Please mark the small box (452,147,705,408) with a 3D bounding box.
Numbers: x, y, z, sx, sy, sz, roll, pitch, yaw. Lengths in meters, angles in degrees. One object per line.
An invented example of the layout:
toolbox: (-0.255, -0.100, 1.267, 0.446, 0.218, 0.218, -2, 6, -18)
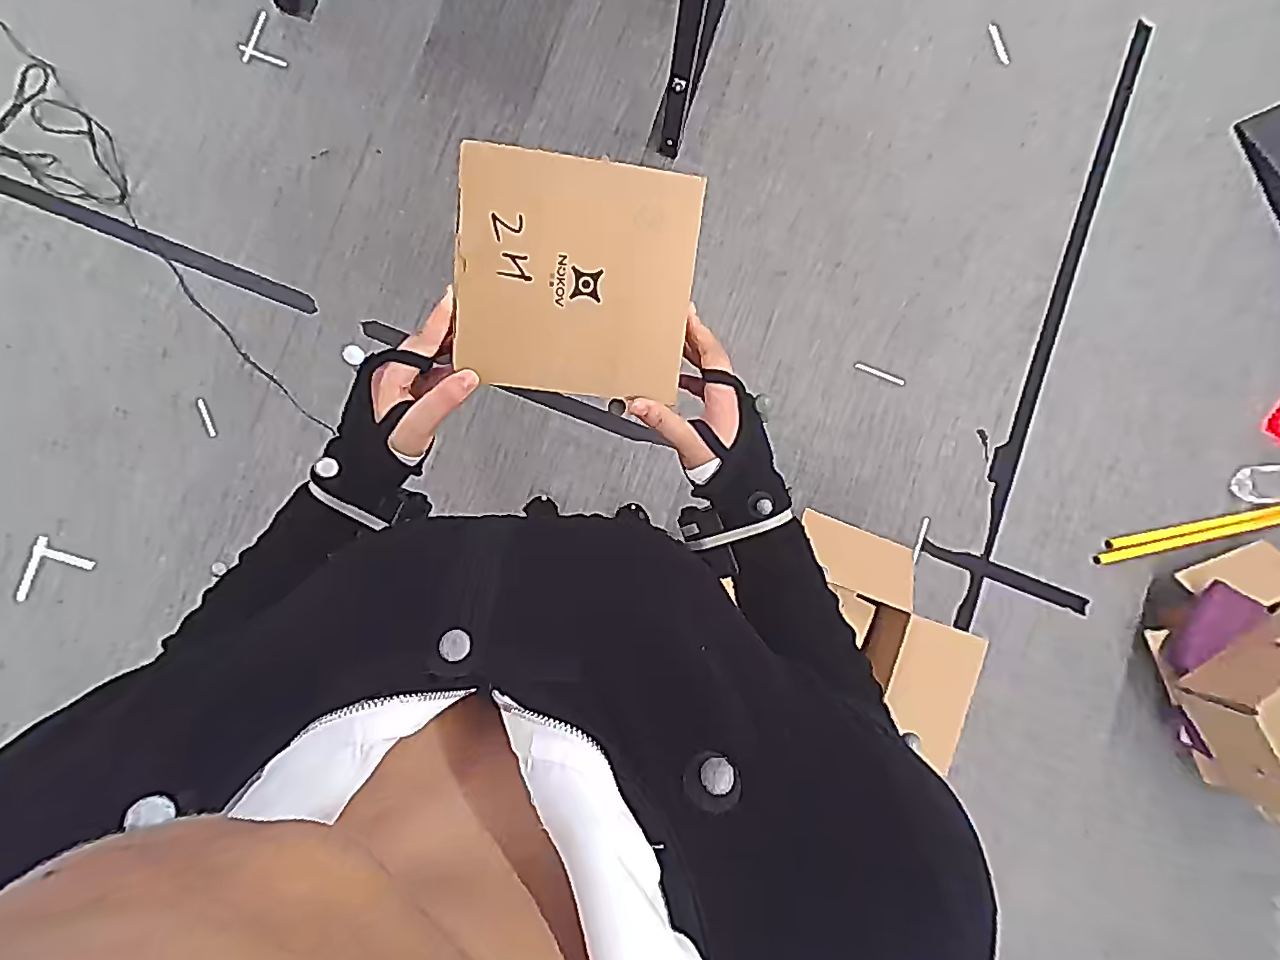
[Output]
small box: (-0.053, -0.164, 0.478, 0.179, 0.176, 0.168, 6, 103, -5)
